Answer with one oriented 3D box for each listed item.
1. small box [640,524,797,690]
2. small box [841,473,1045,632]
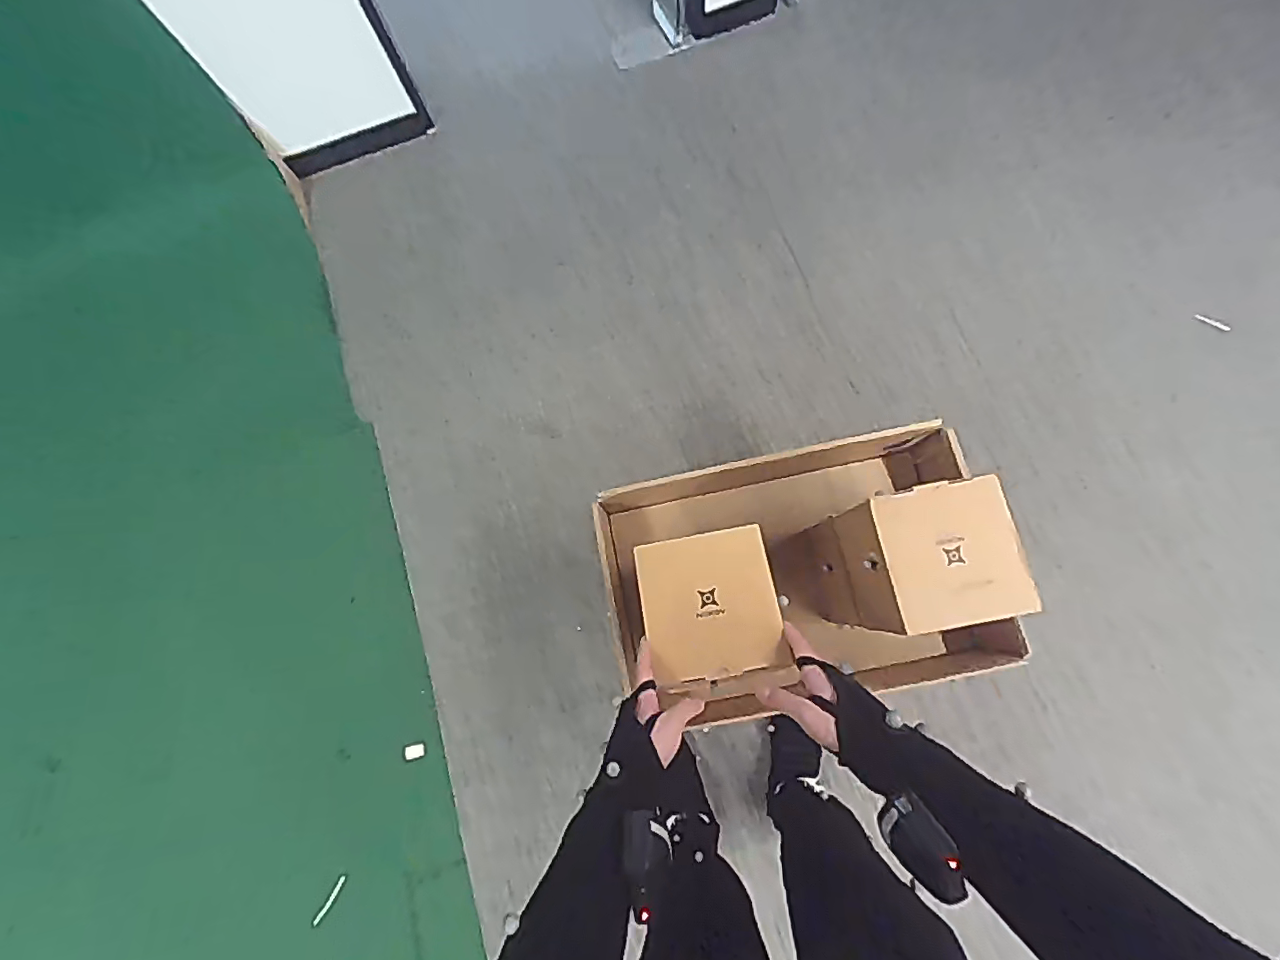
[{"bbox_3d":[0.100,0.178,0.731,0.168,0.176,0.179,-11,67,4],"label":"small box"},{"bbox_3d":[0.394,0.105,0.742,0.168,0.176,0.179,-11,77,2],"label":"small box"}]
